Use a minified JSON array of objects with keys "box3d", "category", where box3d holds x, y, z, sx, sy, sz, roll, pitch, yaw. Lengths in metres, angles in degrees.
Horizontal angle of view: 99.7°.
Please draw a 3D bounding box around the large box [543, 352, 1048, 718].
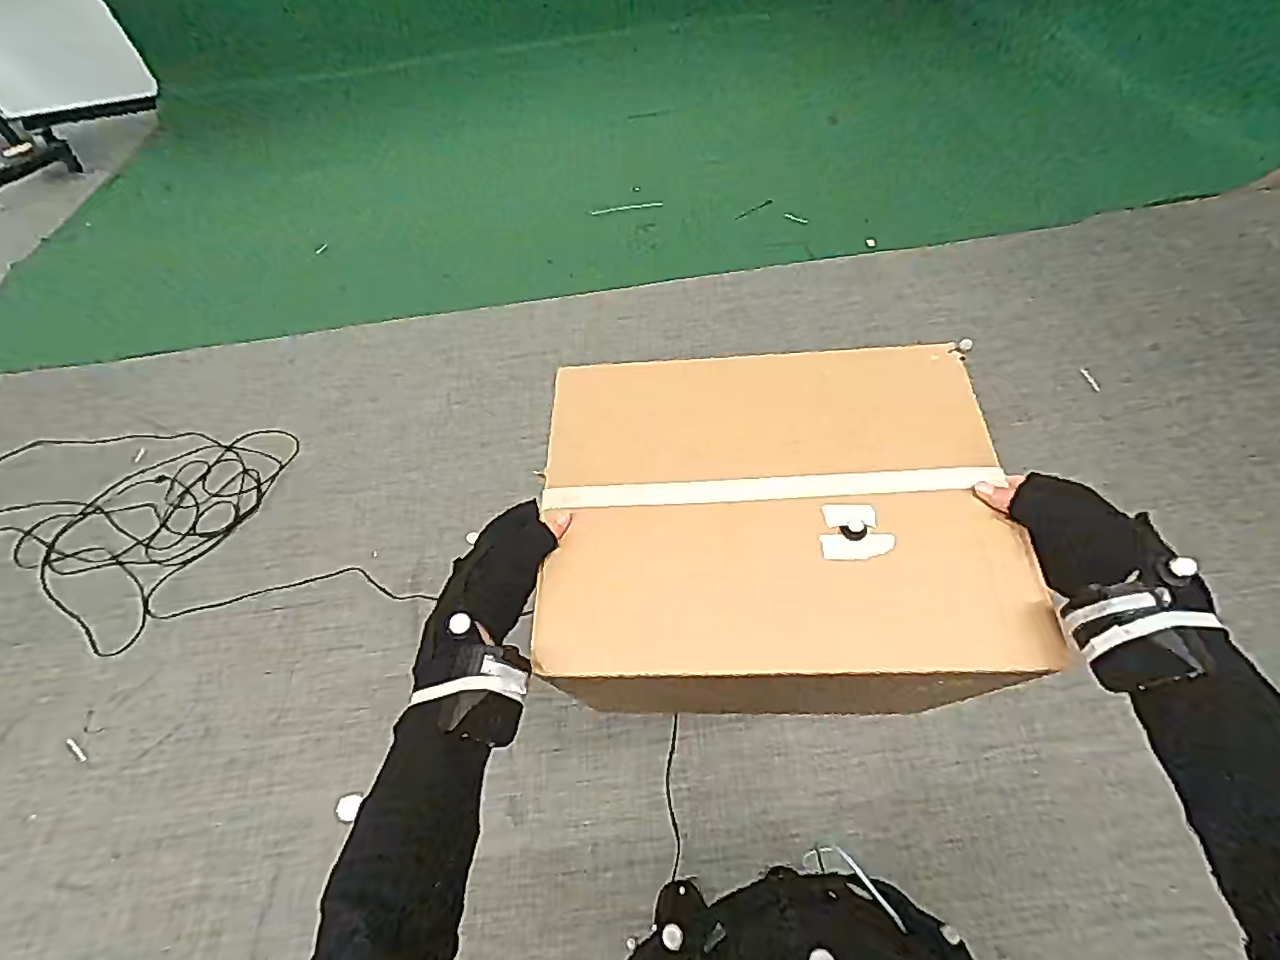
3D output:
[{"box3d":[0.126,0.087,0.627,0.408,0.320,0.320,-3,61,5],"category":"large box"}]
